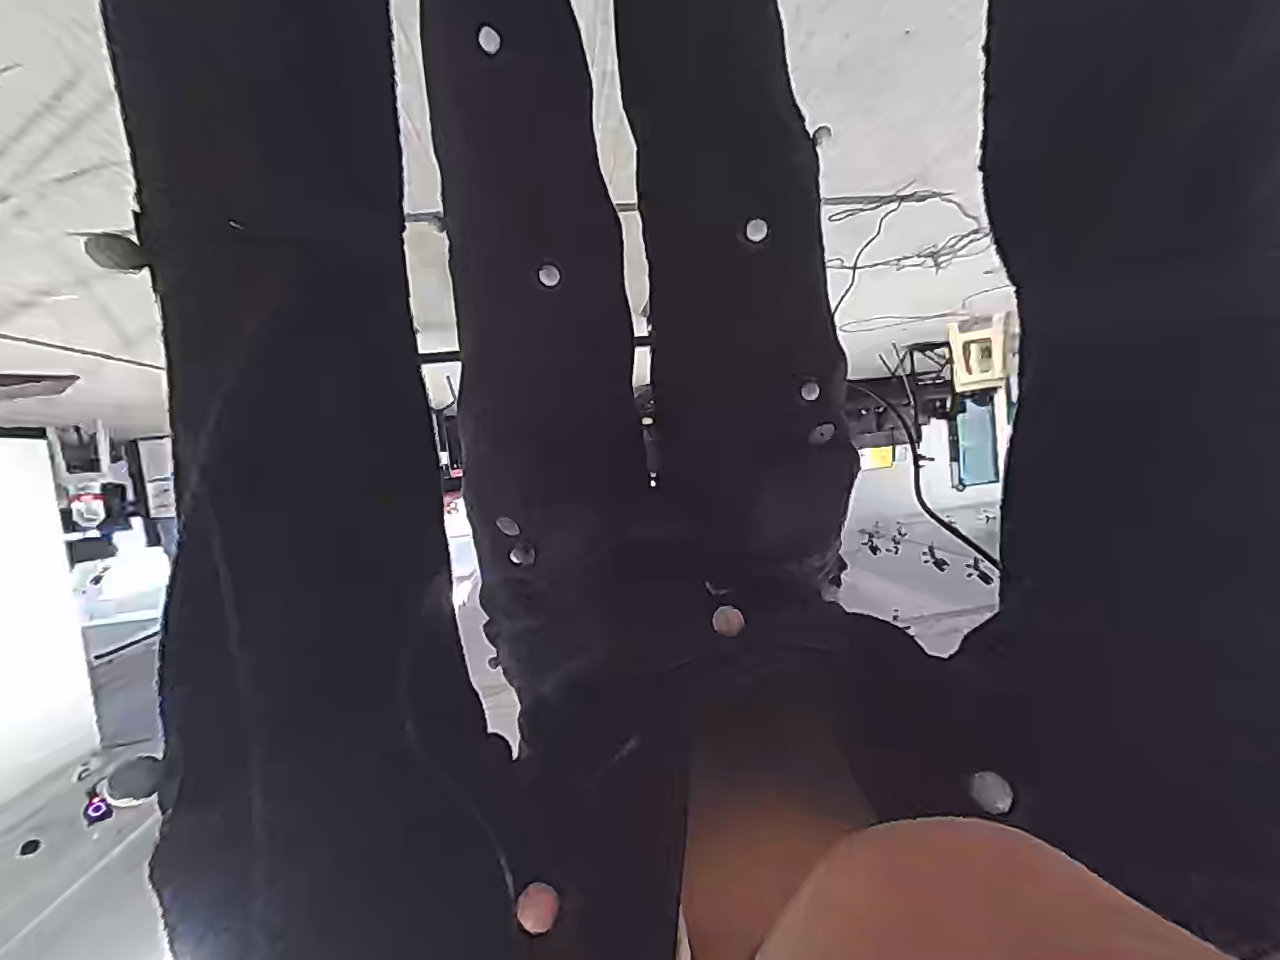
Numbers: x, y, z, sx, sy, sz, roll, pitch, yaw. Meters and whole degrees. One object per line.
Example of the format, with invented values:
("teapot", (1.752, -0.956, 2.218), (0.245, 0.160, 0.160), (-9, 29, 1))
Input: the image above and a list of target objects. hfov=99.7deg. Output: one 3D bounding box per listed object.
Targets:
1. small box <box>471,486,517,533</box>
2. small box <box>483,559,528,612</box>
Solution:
("small box", (-0.615, 0.118, 2.278), (0.168, 0.176, 0.179), (-8, -176, -14))
("small box", (-0.574, 0.442, 2.296), (0.168, 0.176, 0.179), (-6, -175, -16))
